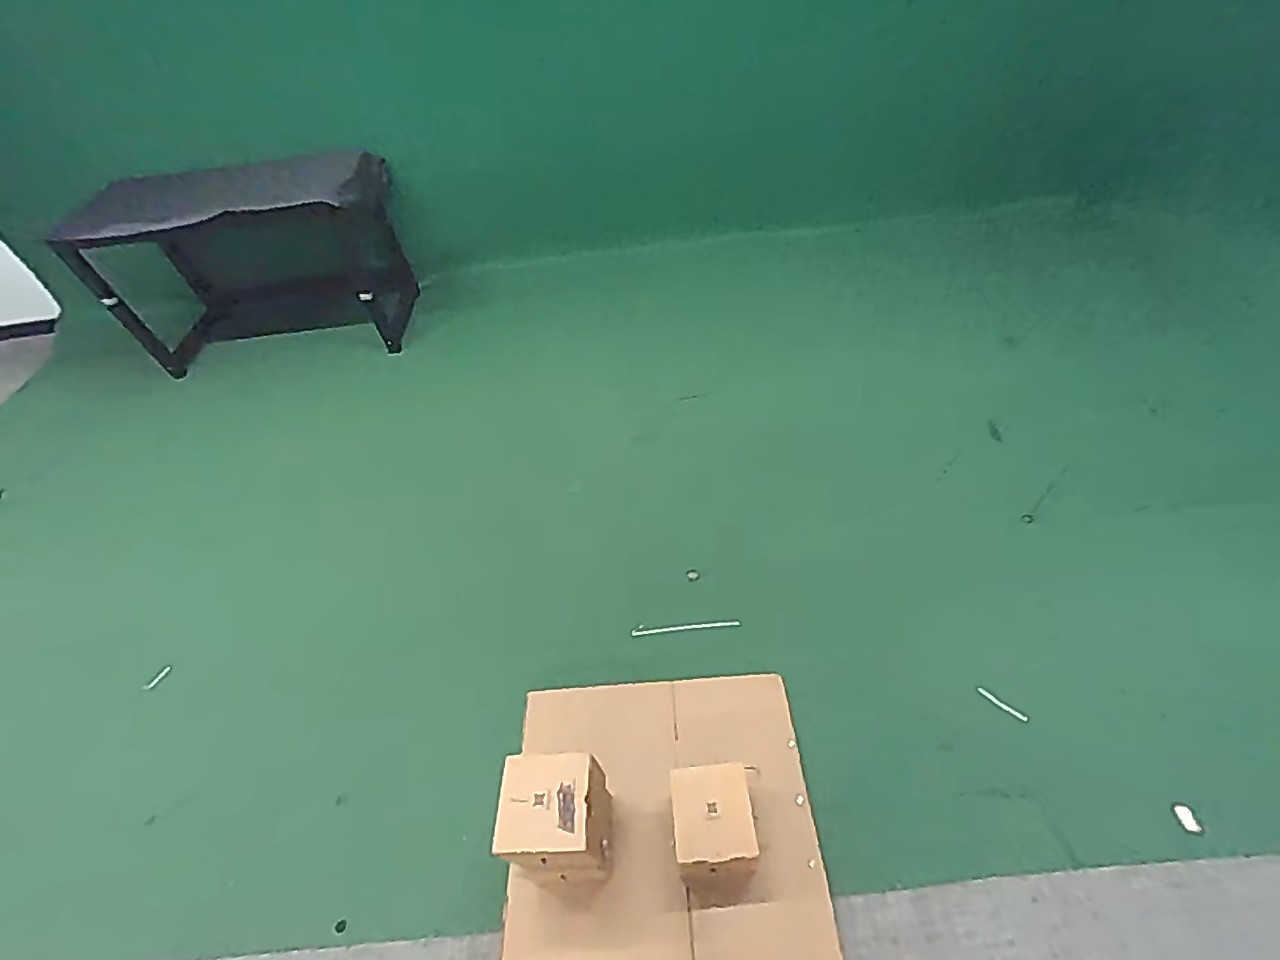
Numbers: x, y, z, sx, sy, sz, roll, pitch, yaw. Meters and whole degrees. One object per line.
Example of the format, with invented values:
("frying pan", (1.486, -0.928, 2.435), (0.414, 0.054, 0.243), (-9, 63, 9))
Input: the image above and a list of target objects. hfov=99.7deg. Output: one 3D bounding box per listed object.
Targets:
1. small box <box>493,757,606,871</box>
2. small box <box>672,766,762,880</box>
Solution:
("small box", (-0.167, 0.661, 1.070), (0.179, 0.176, 0.168), (-5, 47, 6))
("small box", (0.161, 0.746, 1.175), (0.168, 0.176, 0.179), (-7, 48, 2))
